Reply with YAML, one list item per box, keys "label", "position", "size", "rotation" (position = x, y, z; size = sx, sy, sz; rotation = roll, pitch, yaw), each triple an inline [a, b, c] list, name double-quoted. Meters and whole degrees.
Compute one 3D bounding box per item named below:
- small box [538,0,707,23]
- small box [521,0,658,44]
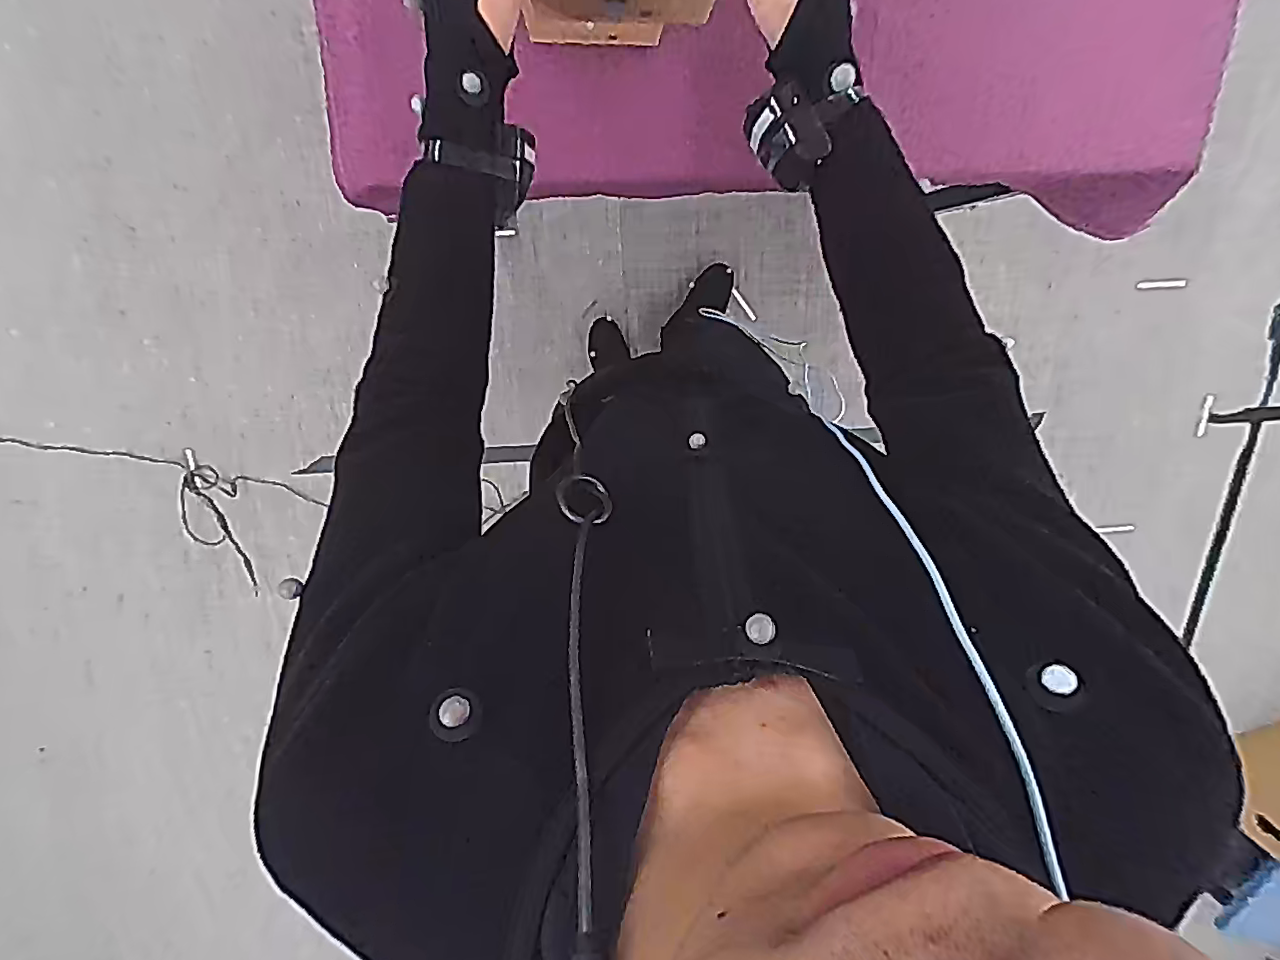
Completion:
- label: "small box"
  position: [-0.015, -0.490, 0.407]
  size: [0.168, 0.176, 0.179]
  rotation: [-2, 112, -3]
- label: "small box"
  position: [-0.053, -0.617, 0.594]
  size: [0.168, 0.176, 0.179]
  rotation: [-1, 109, -5]
